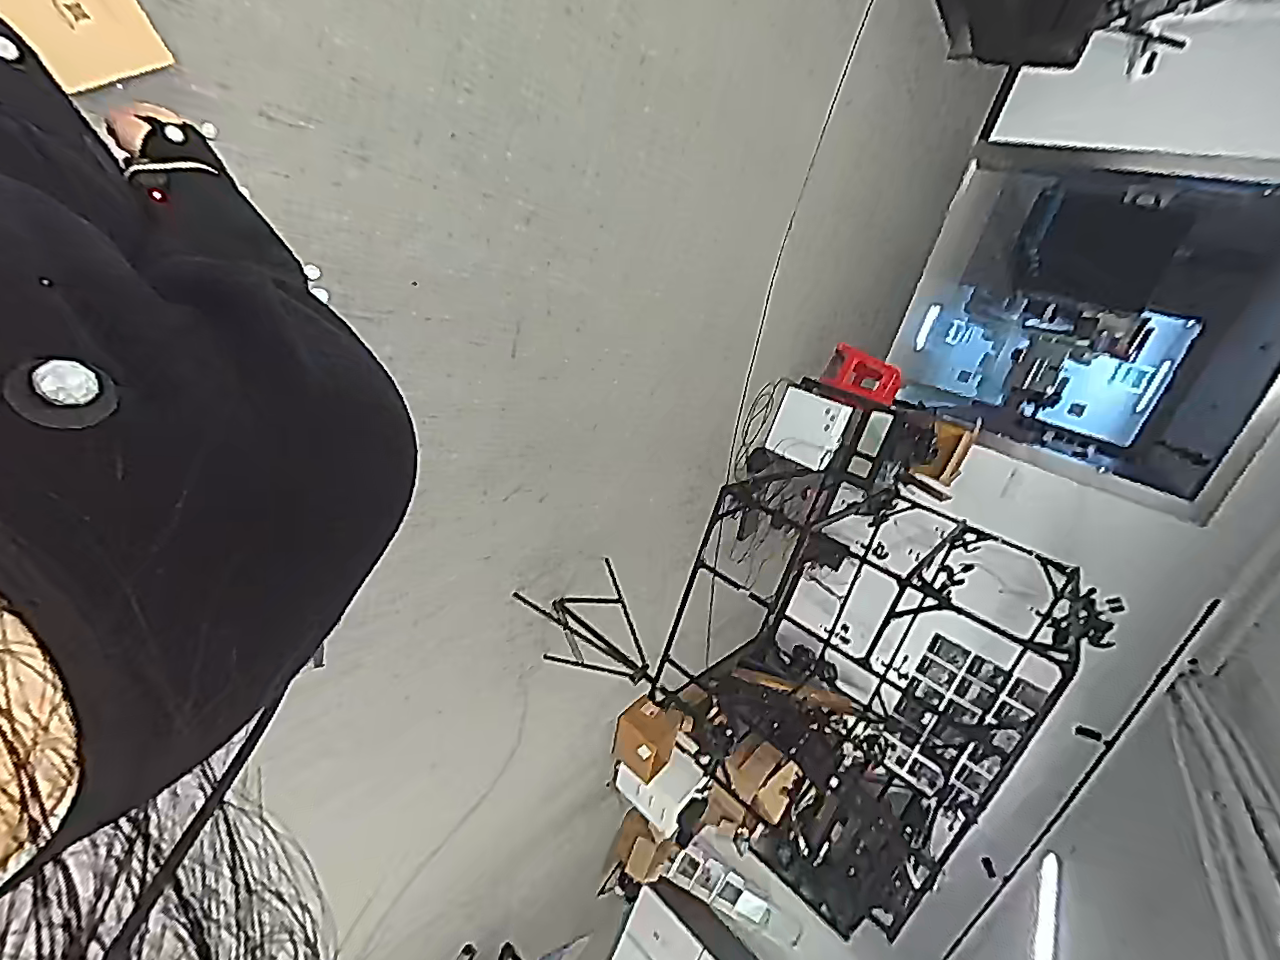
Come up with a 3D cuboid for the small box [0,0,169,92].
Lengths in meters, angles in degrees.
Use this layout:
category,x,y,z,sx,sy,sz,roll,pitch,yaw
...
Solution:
category,x,y,z,sx,sy,sz,roll,pitch,yaw
small box,-0.907,-0.728,0.844,0.179,0.176,0.168,-45,146,-26
